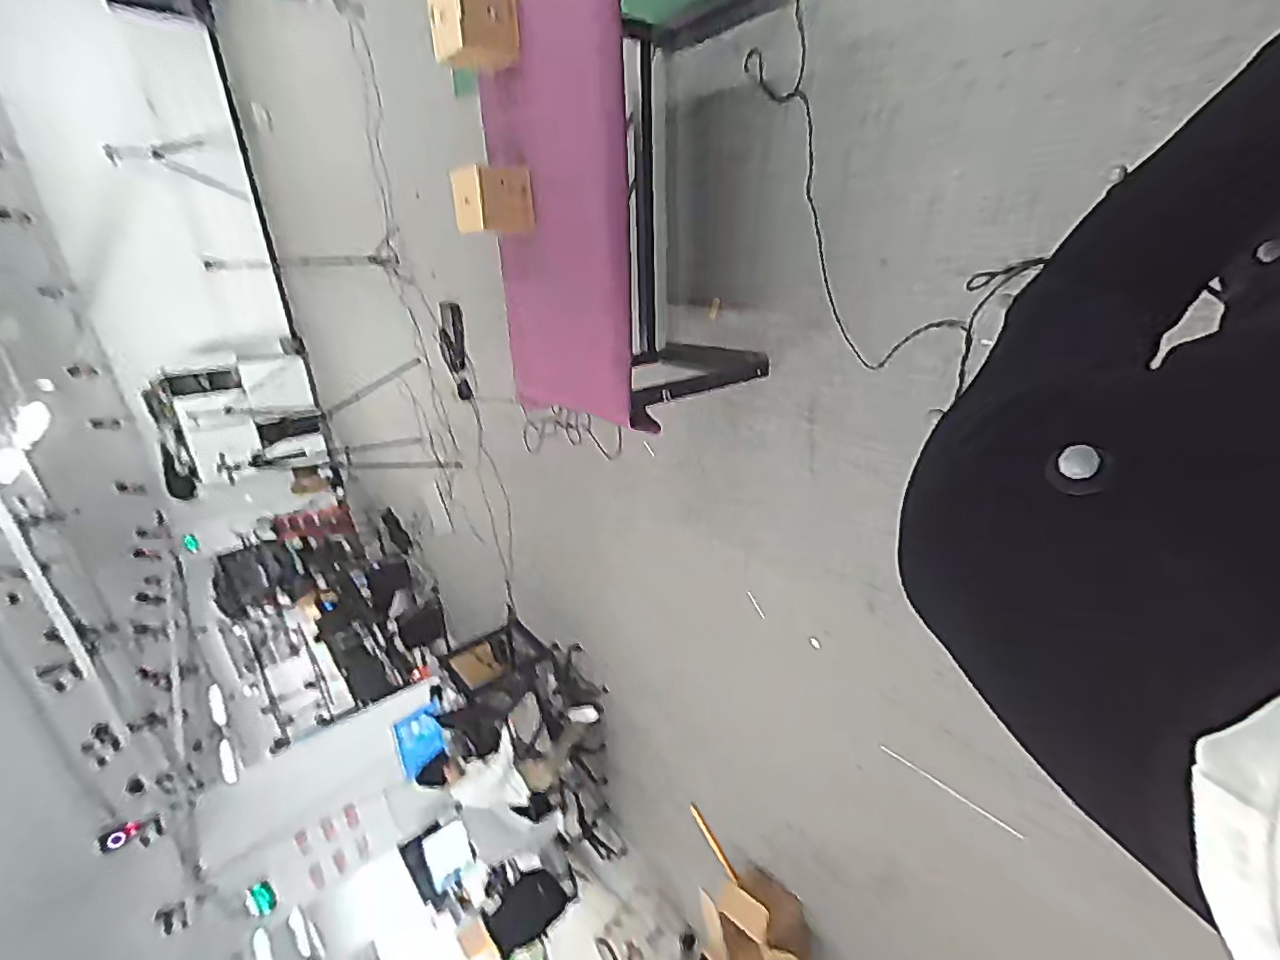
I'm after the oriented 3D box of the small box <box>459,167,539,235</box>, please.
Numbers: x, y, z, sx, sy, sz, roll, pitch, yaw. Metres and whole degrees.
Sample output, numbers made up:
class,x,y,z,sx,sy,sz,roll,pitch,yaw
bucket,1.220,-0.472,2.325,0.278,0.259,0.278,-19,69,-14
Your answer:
class,x,y,z,sx,sy,sz,roll,pitch,yaw
small box,-0.411,-0.823,1.605,0.179,0.176,0.168,23,123,46

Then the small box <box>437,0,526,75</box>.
class,x,y,z,sx,sy,sz,roll,pitch,yaw
small box,-0.414,-1.203,1.433,0.179,0.176,0.168,24,124,44
